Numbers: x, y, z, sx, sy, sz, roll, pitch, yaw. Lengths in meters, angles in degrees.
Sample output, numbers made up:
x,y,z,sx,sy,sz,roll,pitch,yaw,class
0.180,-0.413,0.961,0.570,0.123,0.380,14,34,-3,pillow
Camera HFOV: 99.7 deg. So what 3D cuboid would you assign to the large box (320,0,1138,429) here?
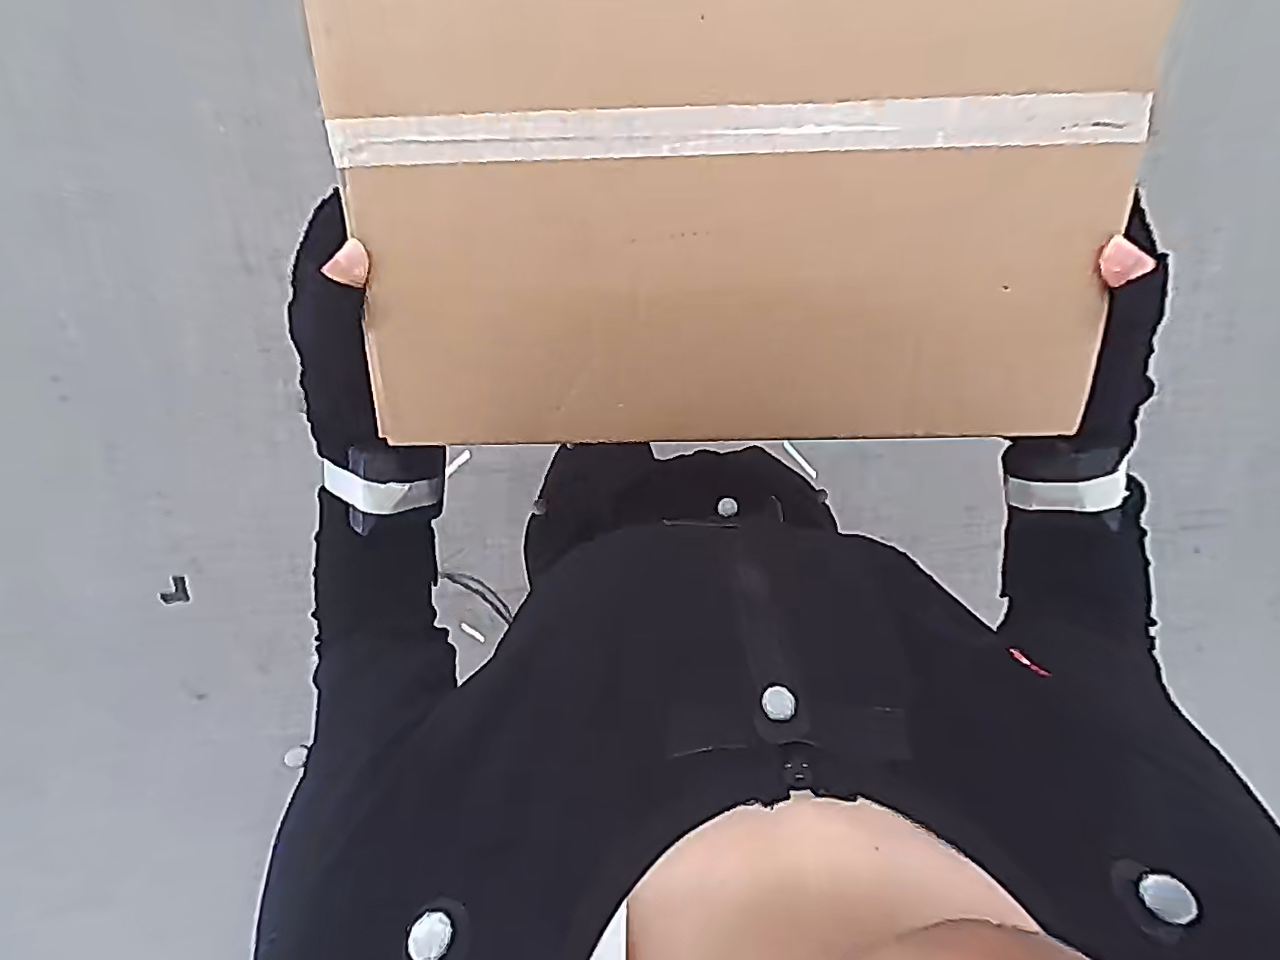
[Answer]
x,y,z,sx,sy,sz,roll,pitch,yaw,class
0.041,-0.228,0.422,0.408,0.320,0.320,-1,108,1,large box
